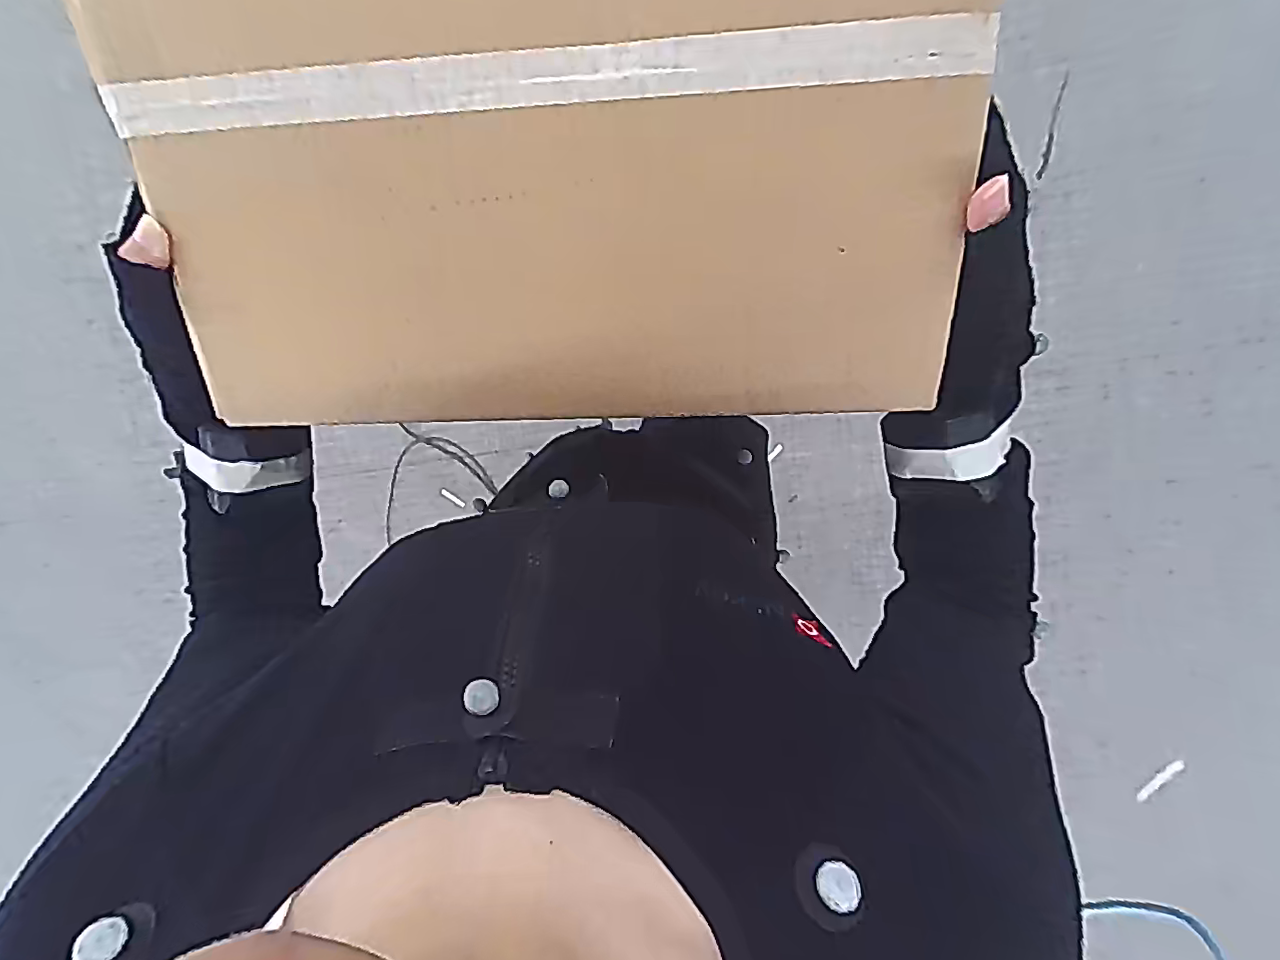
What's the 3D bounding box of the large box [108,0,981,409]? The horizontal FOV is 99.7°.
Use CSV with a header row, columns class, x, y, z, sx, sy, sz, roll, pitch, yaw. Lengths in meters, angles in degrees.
class,x,y,z,sx,sy,sz,roll,pitch,yaw
large box,-0.042,-0.247,0.390,0.408,0.320,0.320,-1,113,4
